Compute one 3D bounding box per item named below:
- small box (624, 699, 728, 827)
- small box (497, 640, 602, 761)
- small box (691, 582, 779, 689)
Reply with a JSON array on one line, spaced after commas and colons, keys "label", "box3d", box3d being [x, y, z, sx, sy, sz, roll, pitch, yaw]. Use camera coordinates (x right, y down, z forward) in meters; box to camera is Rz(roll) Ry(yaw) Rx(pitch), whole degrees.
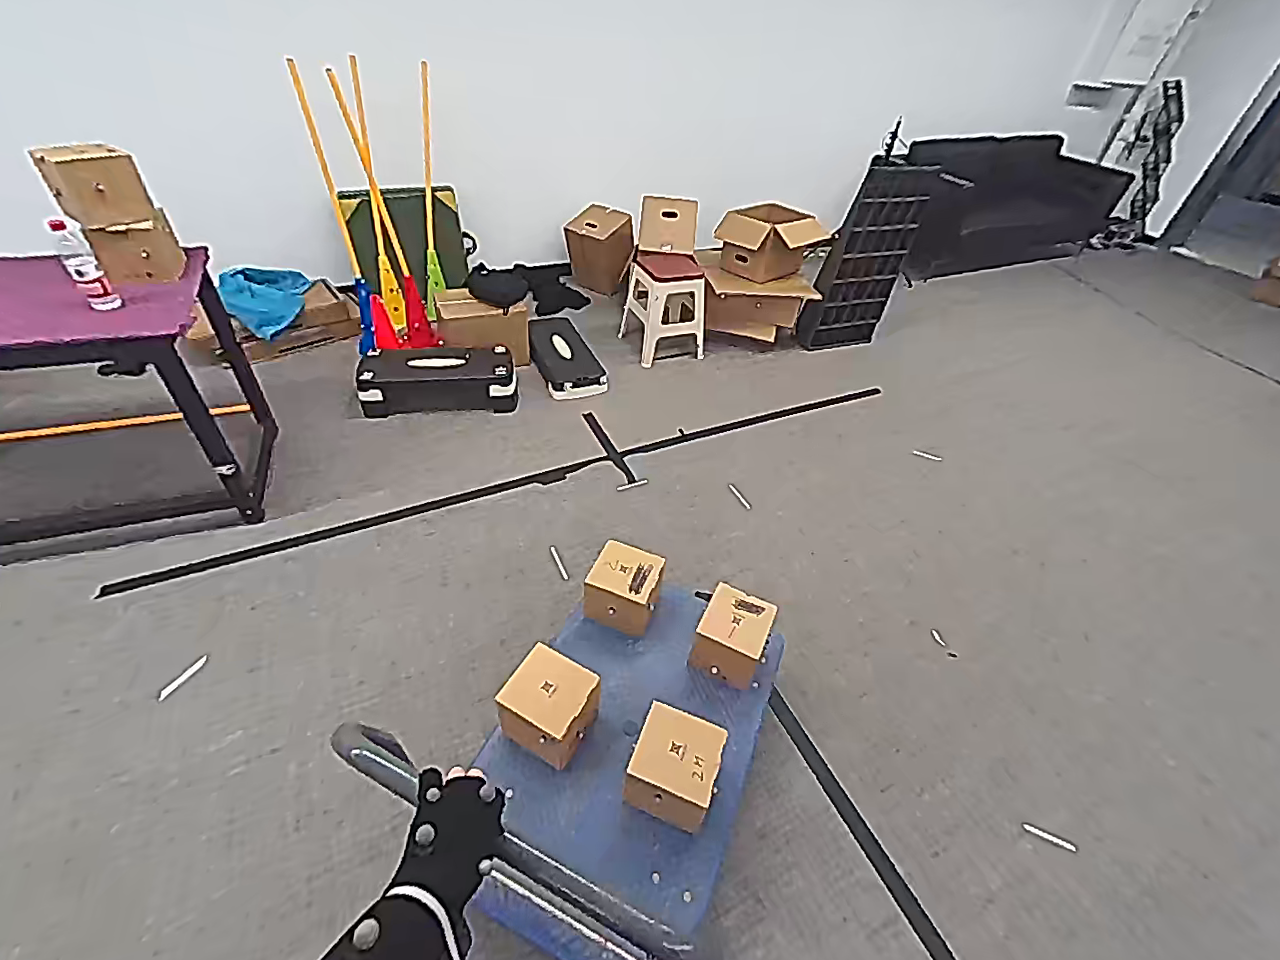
[{"label": "small box", "box3d": [0.074, 0.617, 1.174, 0.179, 0.176, 0.168, 19, 44, 13]}, {"label": "small box", "box3d": [-0.206, 0.513, 1.253, 0.179, 0.176, 0.168, 23, 45, 17]}, {"label": "small box", "box3d": [0.245, 0.409, 1.424, 0.168, 0.176, 0.179, 22, 46, 17]}]
